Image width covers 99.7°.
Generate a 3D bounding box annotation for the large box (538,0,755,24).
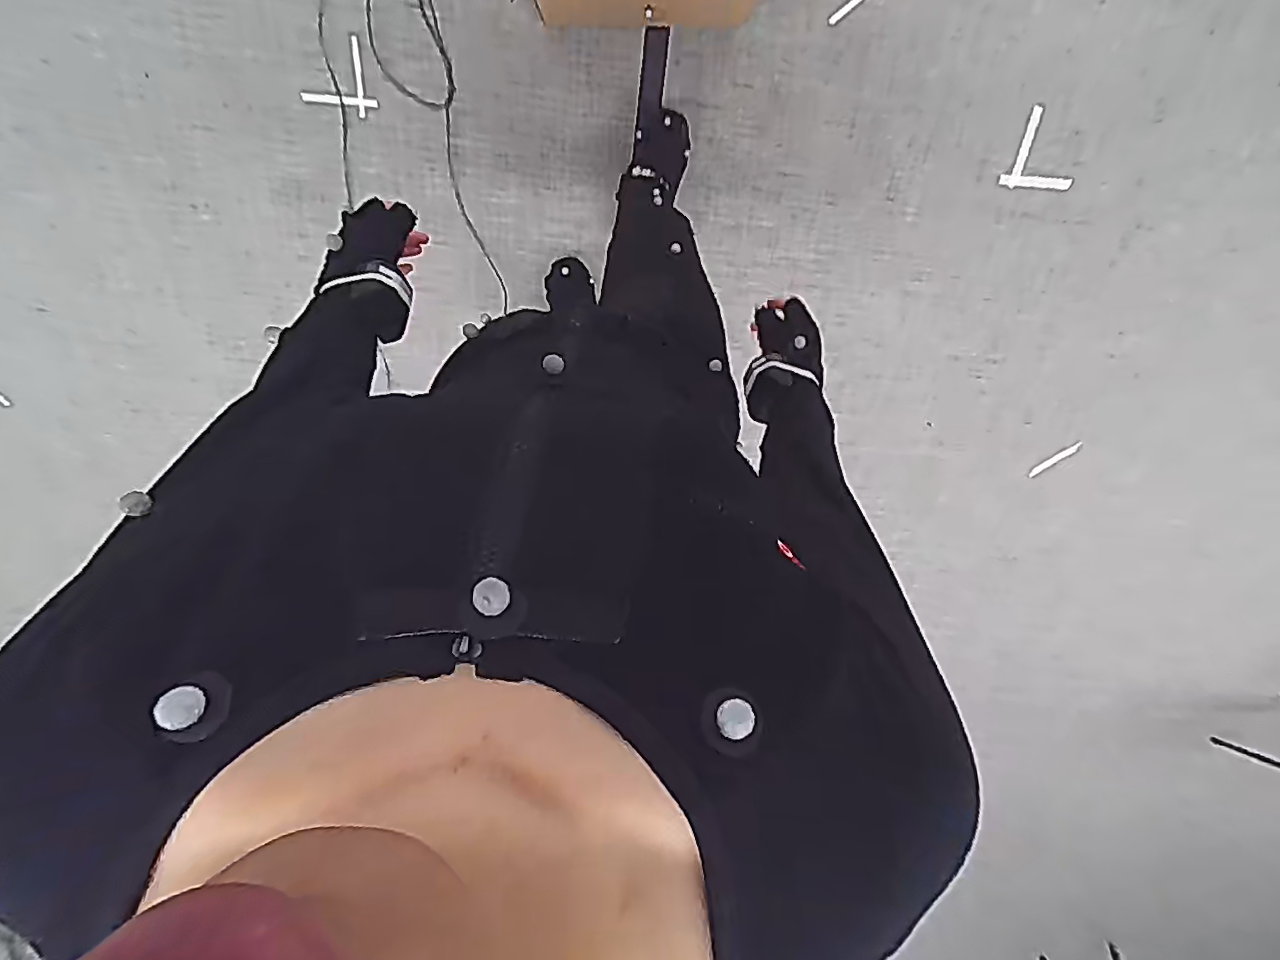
[{"bbox_3d":[0.013,-0.995,0.902,0.408,0.320,0.320,-2,118,-1],"label":"large box"}]
